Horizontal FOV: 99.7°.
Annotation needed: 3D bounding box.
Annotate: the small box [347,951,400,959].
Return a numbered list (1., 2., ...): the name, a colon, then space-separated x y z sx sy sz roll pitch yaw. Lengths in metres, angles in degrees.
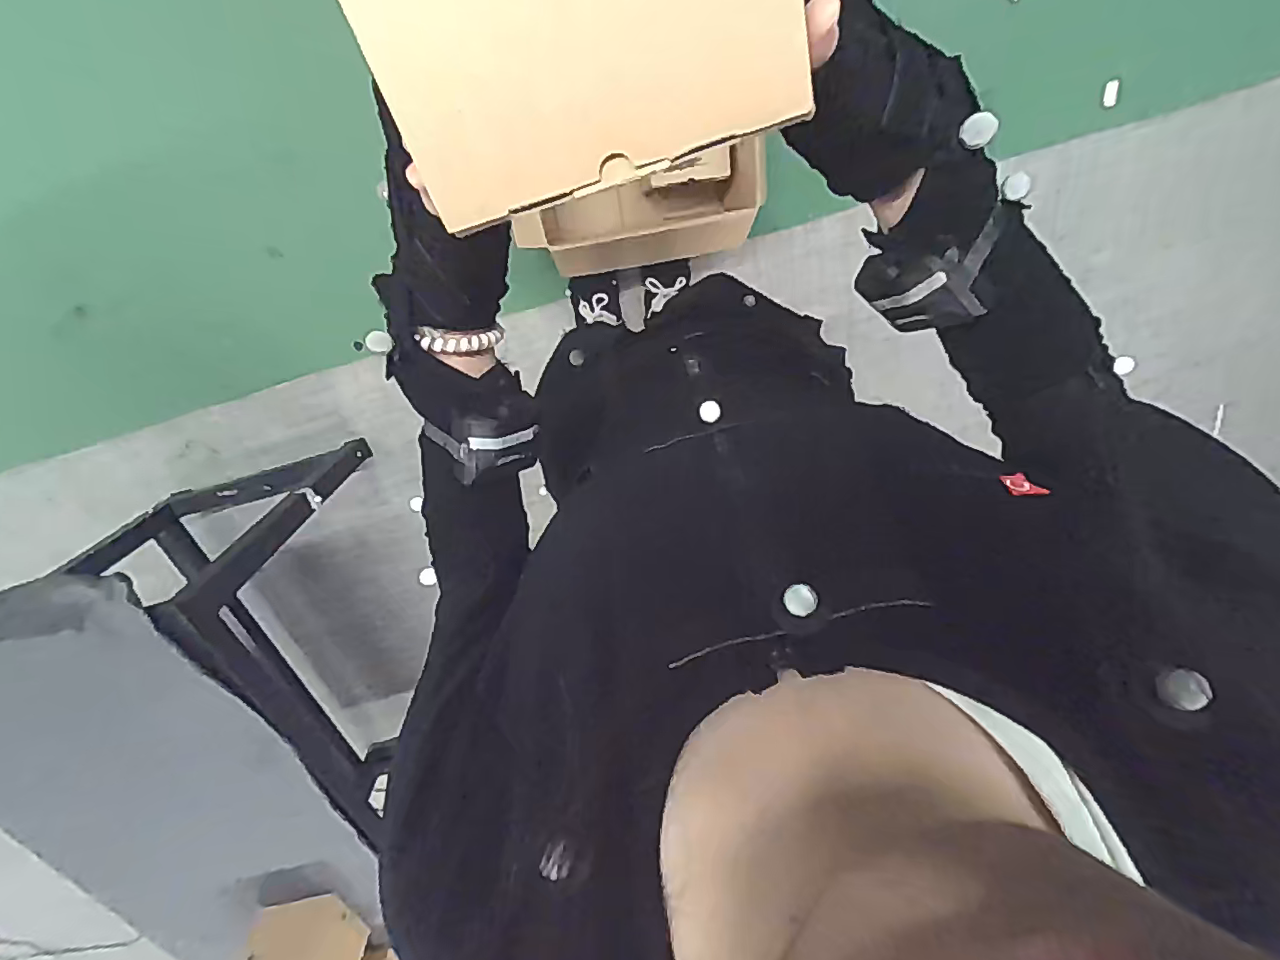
1. small box: -0.626 1.198 1.200 0.179 0.176 0.168 -17 115 5

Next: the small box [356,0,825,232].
1. small box: -0.026 -0.244 0.248 0.168 0.176 0.179 -13 126 12
